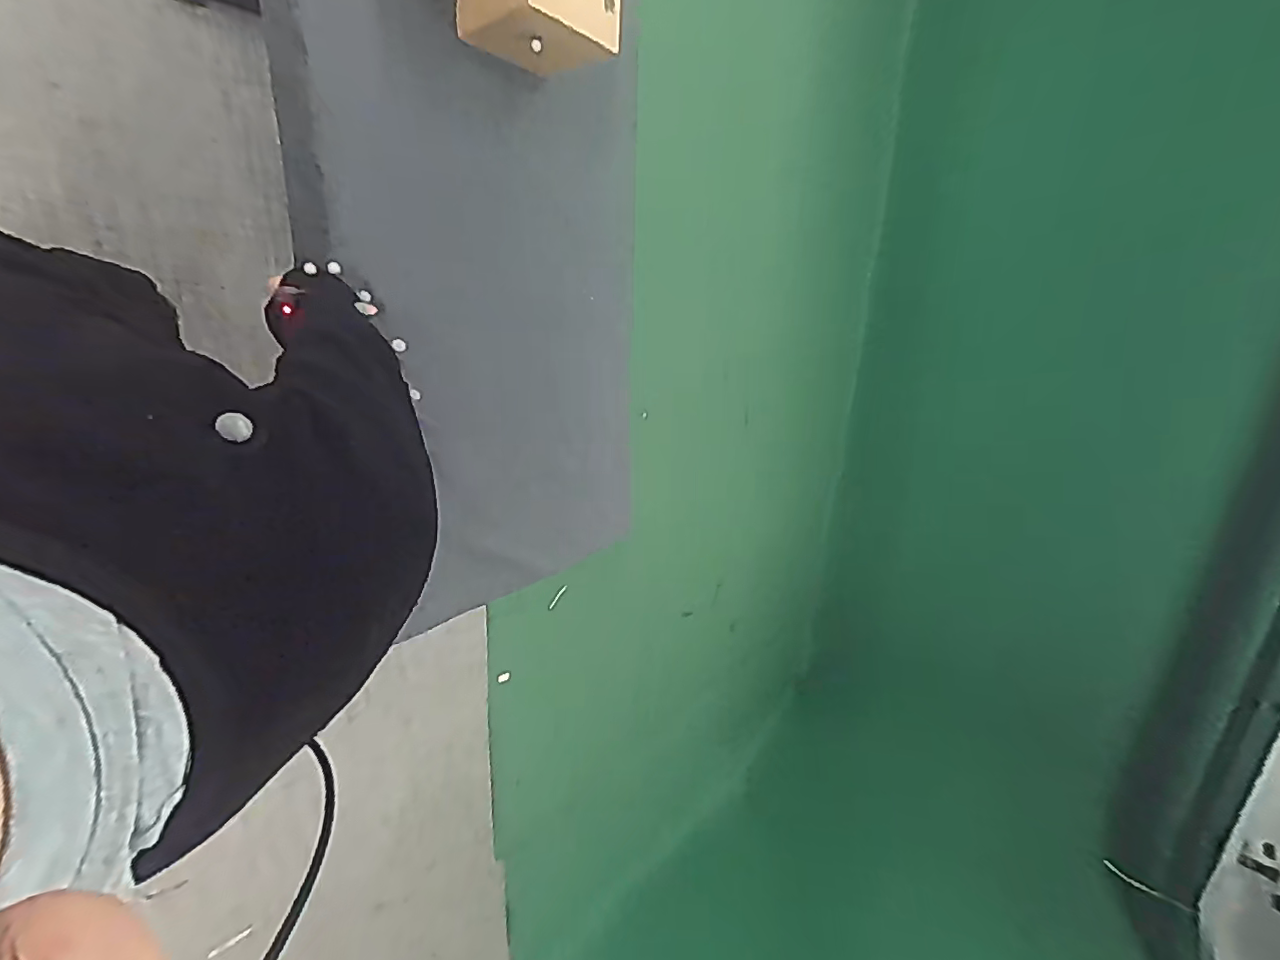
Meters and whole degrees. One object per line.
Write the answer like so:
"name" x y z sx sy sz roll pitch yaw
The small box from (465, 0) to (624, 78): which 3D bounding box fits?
"small box" -0.142 -0.723 0.790 0.179 0.176 0.168 -14 115 -45
